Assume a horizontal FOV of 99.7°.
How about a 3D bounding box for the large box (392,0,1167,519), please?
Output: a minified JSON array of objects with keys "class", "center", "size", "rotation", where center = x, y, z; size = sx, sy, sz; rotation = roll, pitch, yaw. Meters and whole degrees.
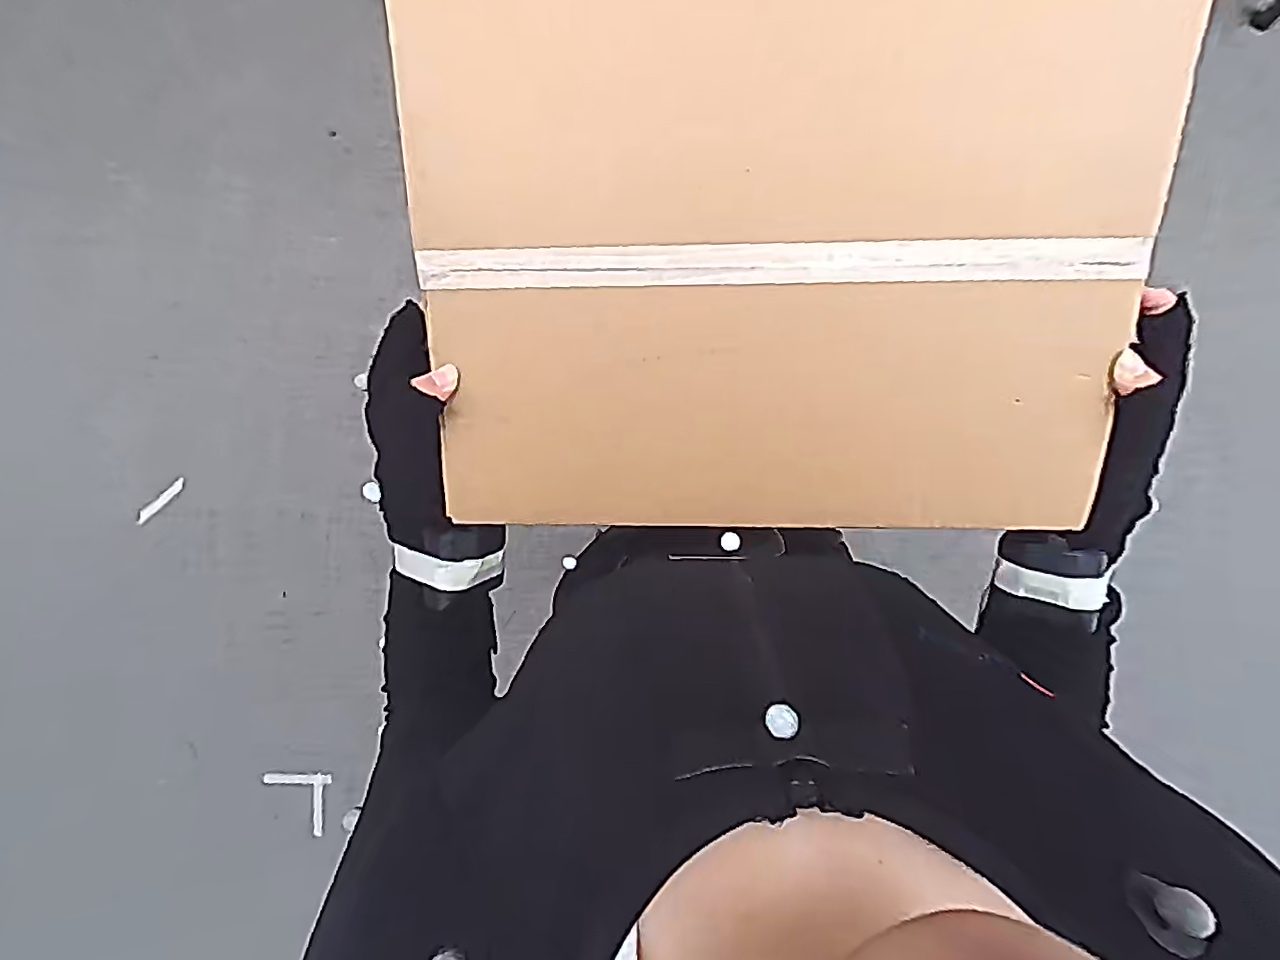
[{"class":"large box","center":[0.074,-0.165,0.457],"size":[0.408,0.320,0.320],"rotation":[0,107,2]}]
